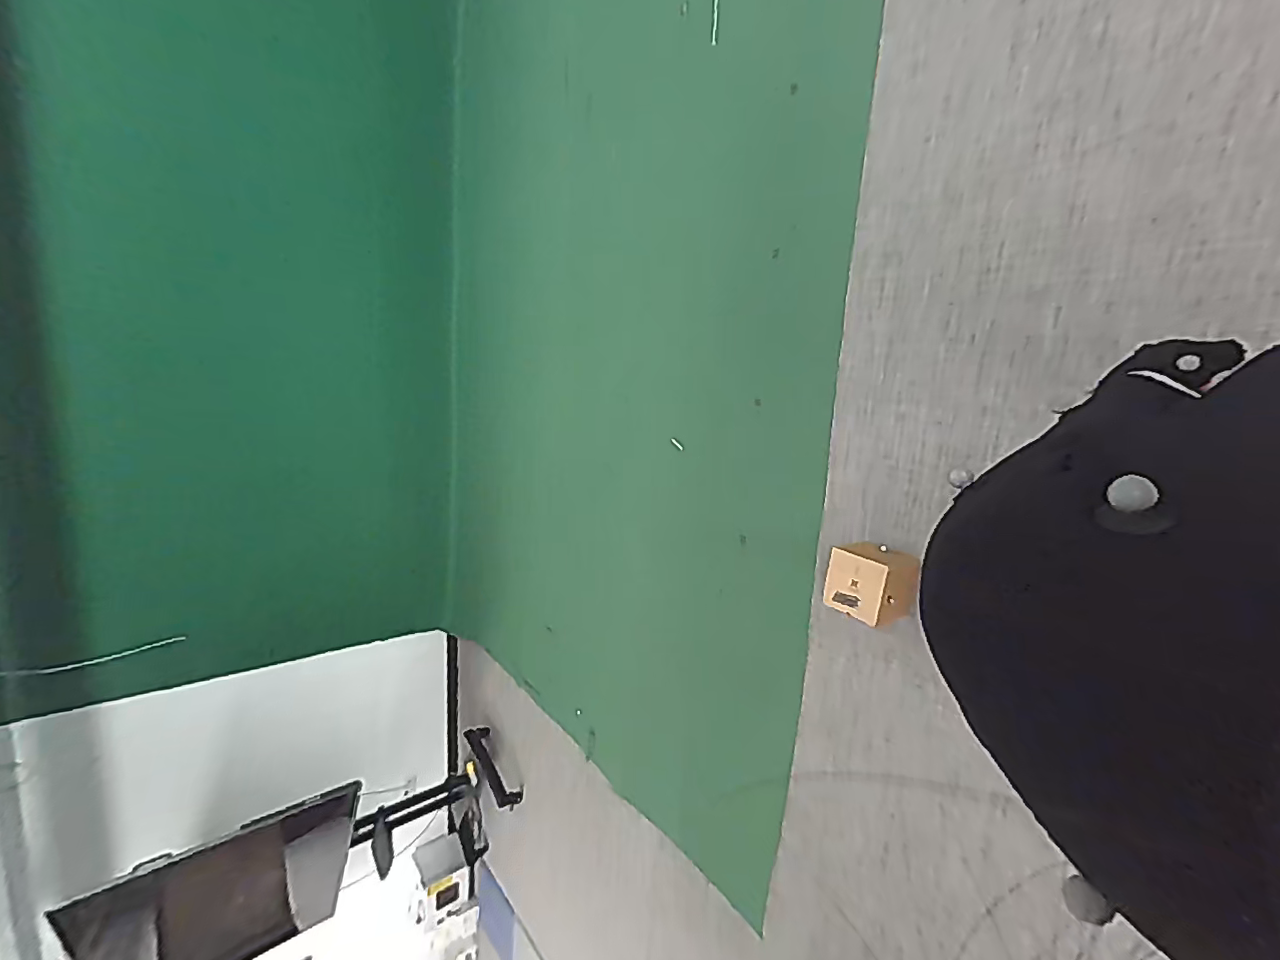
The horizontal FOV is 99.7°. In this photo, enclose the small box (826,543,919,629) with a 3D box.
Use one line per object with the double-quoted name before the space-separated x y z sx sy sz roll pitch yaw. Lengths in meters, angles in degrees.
"small box" 0.650 0.287 1.509 0.168 0.176 0.179 20 106 49
